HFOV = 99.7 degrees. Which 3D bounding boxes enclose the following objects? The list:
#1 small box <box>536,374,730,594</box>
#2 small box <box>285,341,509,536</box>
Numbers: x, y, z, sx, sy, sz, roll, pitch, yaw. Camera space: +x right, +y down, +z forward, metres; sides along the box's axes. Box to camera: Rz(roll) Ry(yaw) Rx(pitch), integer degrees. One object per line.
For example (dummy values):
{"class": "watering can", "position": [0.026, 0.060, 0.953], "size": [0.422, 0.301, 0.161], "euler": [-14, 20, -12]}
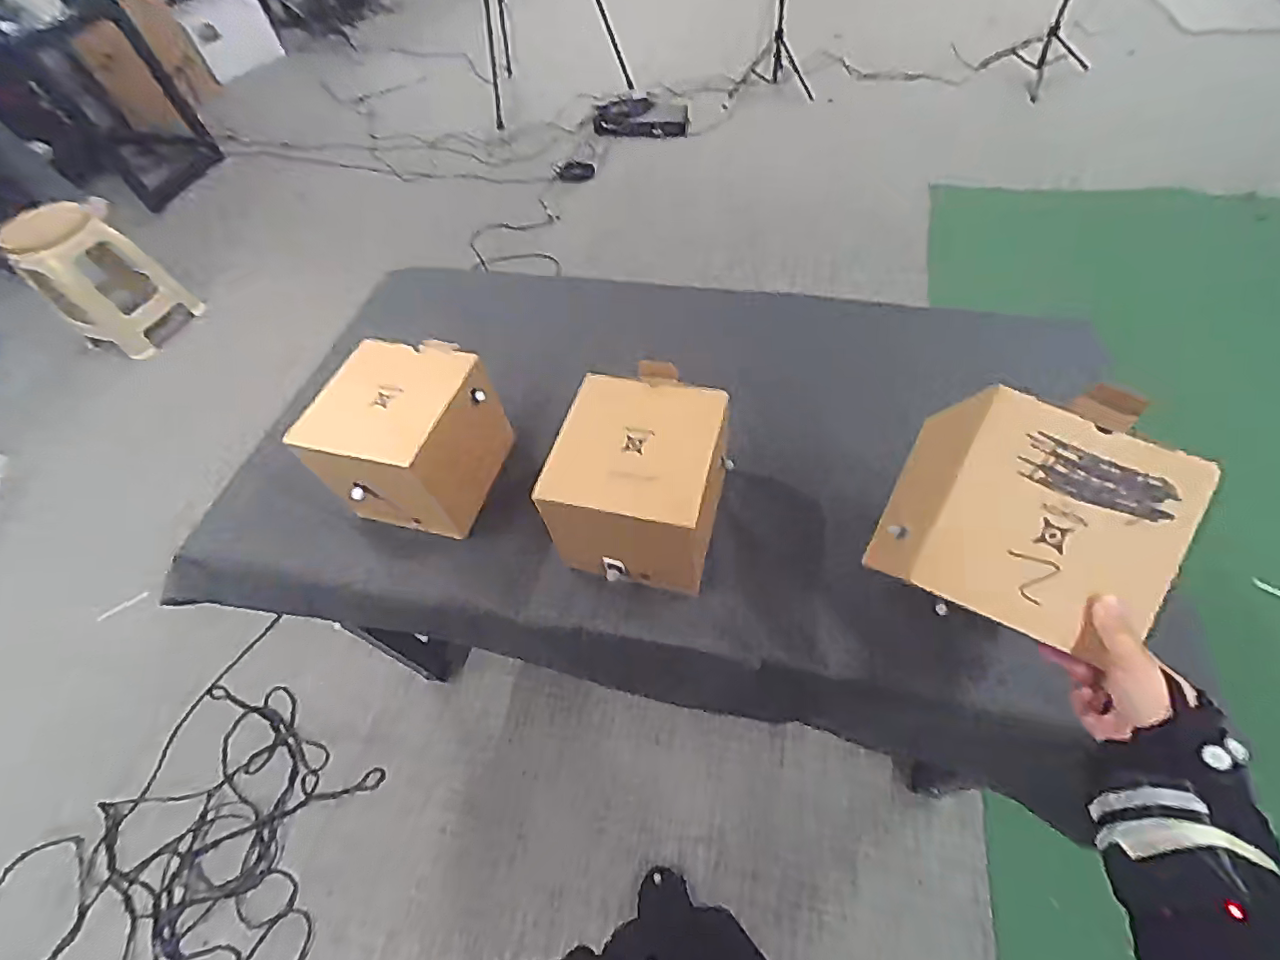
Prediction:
{"class": "small box", "position": [0.004, 0.006, 0.620], "size": [0.168, 0.176, 0.179], "euler": [9, 57, 14]}
{"class": "small box", "position": [-0.287, -0.049, 0.690], "size": [0.168, 0.176, 0.179], "euler": [10, 56, 13]}
